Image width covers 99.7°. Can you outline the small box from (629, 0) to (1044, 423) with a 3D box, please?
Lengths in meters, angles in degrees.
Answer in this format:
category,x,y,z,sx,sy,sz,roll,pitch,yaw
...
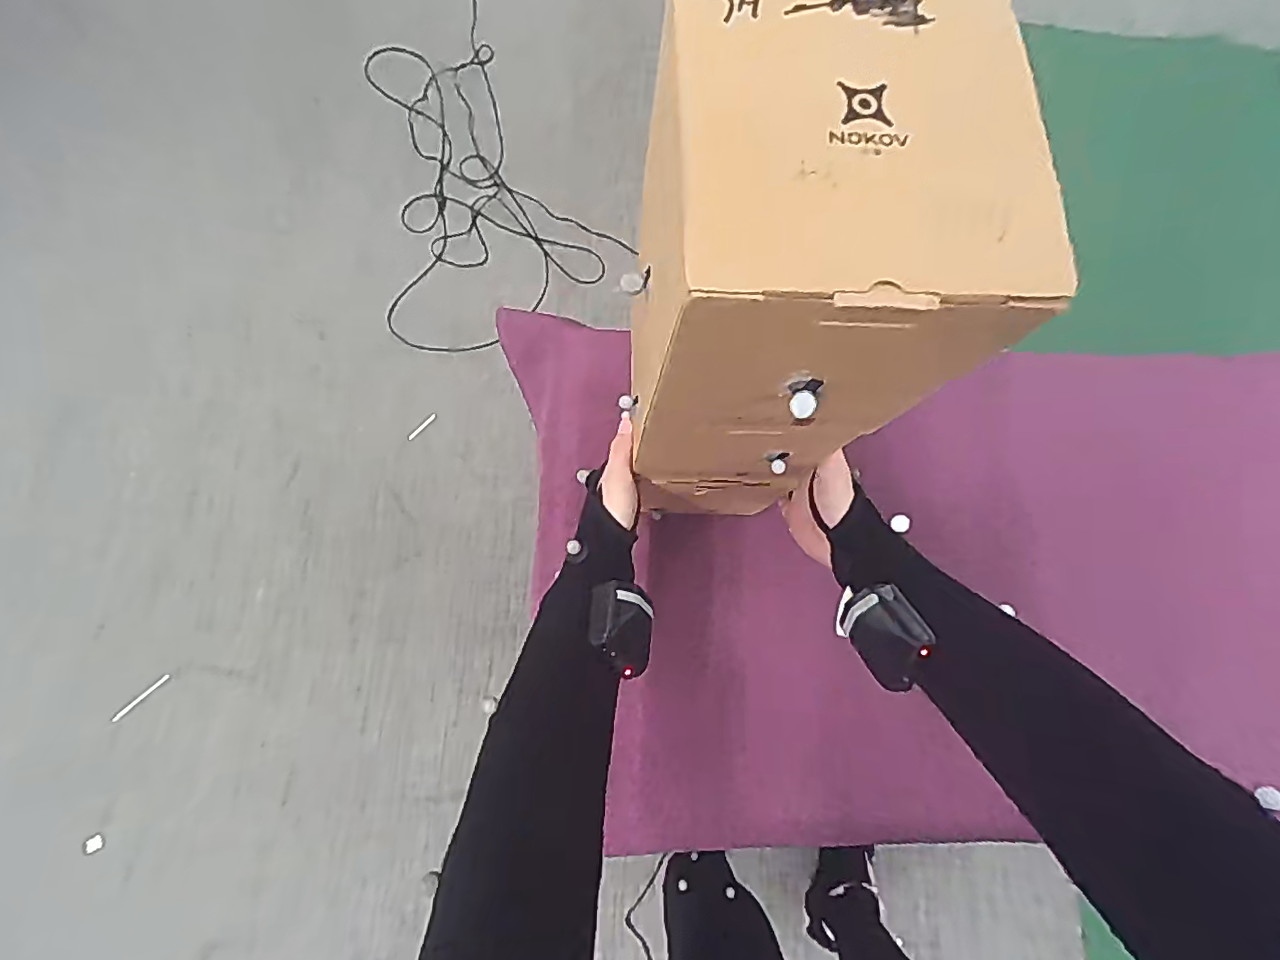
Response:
category,x,y,z,sx,sy,sz,roll,pitch,yaw
small box,0.081,-0.137,0.315,0.168,0.176,0.179,0,78,-5

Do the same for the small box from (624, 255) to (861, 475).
category,x,y,z,sx,sy,sz,roll,pitch,yaw
small box,0.073,-0.104,0.475,0.168,0.176,0.179,1,76,-4

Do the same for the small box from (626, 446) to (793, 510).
category,x,y,z,sx,sy,sz,roll,pitch,yaw
small box,0.070,-0.063,0.633,0.168,0.176,0.179,1,76,-3
